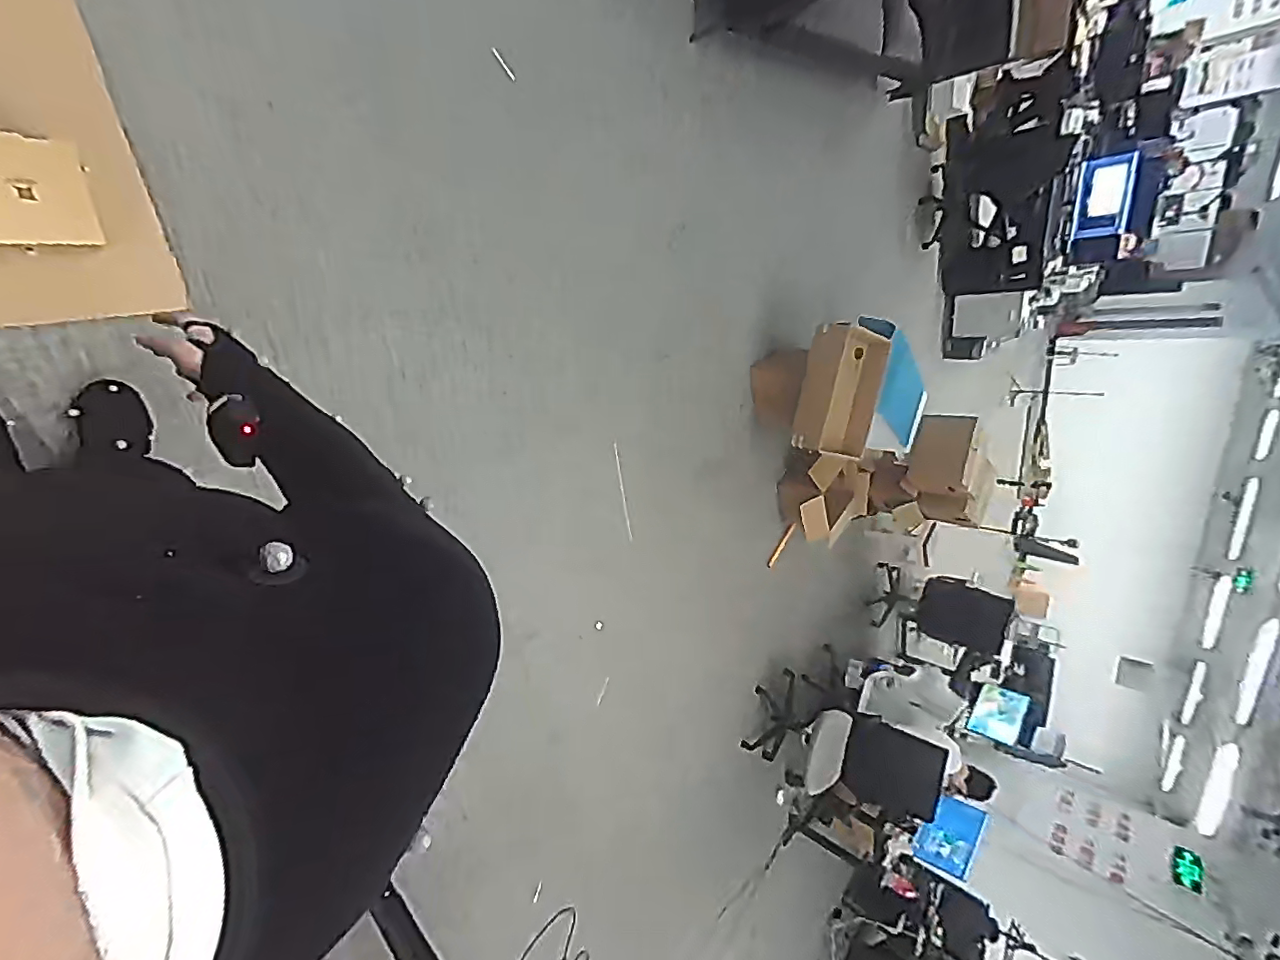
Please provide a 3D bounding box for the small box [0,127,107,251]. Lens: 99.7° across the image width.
[{"bbox_3d":[-1.110,-0.519,0.983,0.168,0.176,0.179,-22,113,-42],"label":"small box"}]
